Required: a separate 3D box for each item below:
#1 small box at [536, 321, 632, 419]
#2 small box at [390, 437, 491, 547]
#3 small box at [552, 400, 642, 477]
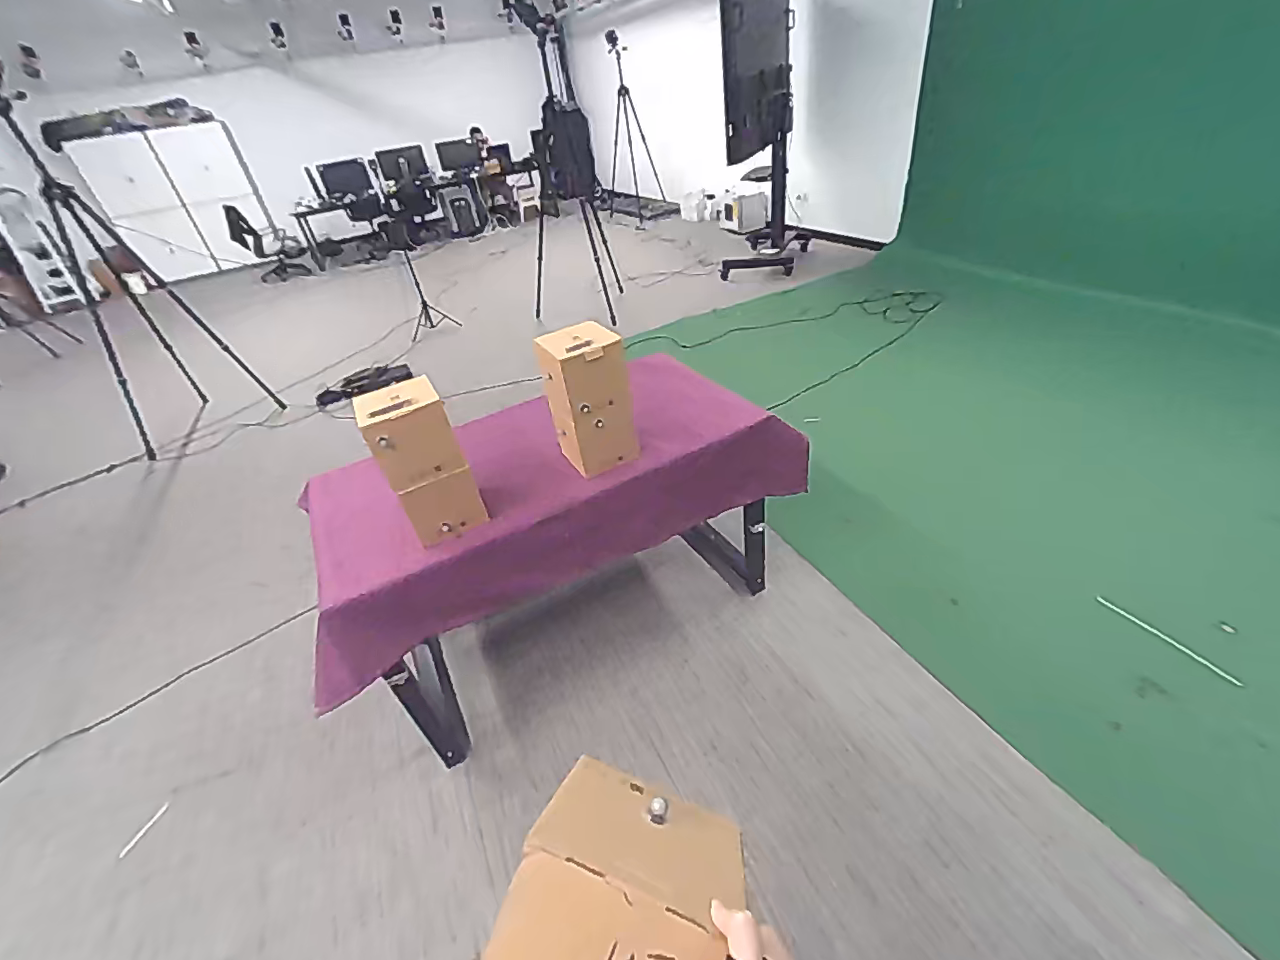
[{"bbox_3d":[-0.133,-0.267,1.333,0.168,0.176,0.179,-24,38,-19],"label":"small box"},{"bbox_3d":[-0.475,0.027,1.293,0.168,0.176,0.179,-24,39,-18],"label":"small box"},{"bbox_3d":[-0.112,-0.135,1.429,0.168,0.176,0.179,-25,38,-18],"label":"small box"}]
